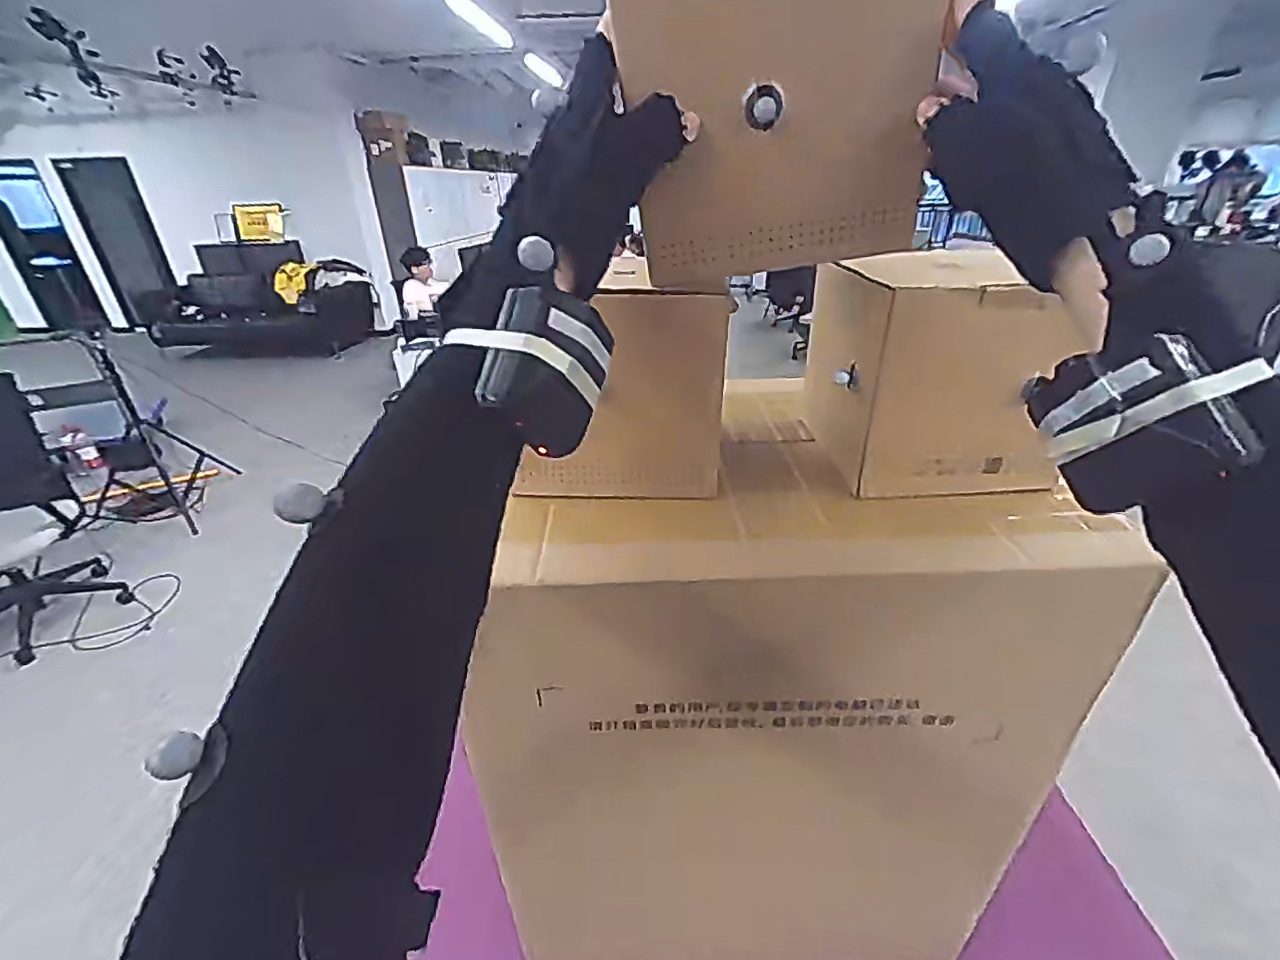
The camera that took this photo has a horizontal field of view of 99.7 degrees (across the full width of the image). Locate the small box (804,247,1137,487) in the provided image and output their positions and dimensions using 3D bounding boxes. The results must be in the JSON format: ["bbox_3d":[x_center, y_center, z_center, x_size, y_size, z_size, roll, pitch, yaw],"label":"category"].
[{"bbox_3d":[0.254,-0.102,0.472,0.168,0.176,0.179,-1,28,-1],"label":"small box"}]

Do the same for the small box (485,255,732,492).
[{"bbox_3d":[-0.017,-0.099,0.478,0.179,0.176,0.168,0,29,2],"label":"small box"}]

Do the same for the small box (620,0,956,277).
[{"bbox_3d":[0.090,-0.256,0.374,0.179,0.176,0.168,-5,38,9],"label":"small box"}]
